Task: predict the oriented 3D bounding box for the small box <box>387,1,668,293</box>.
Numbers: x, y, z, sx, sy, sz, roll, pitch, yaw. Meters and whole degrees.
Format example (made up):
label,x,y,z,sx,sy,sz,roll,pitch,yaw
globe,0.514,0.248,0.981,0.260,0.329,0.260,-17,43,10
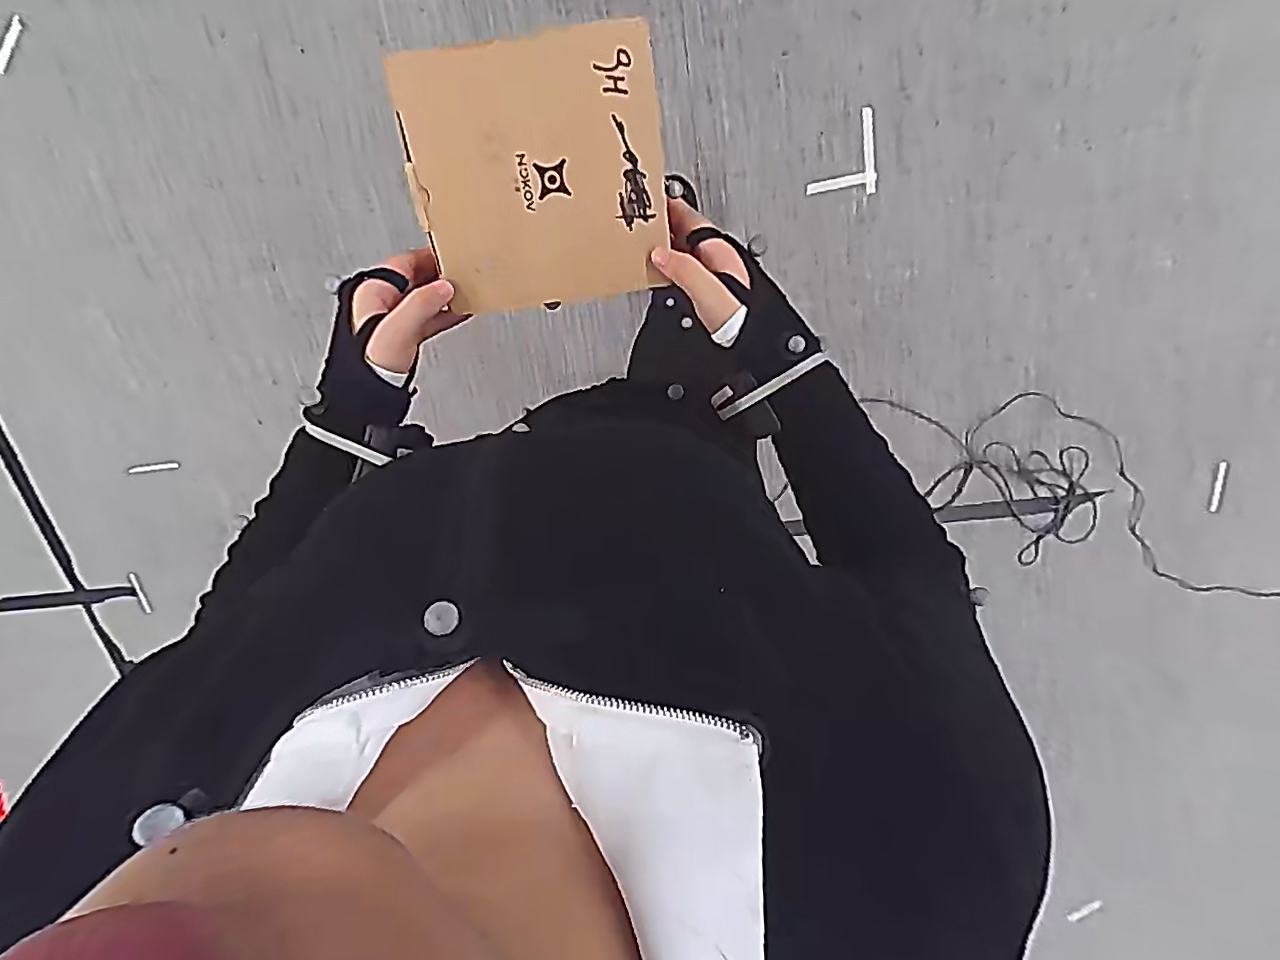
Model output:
label,x,y,z,sx,sy,sz,roll,pitch,yaw
small box,-0.074,-0.258,0.455,0.179,0.176,0.168,-7,115,1
